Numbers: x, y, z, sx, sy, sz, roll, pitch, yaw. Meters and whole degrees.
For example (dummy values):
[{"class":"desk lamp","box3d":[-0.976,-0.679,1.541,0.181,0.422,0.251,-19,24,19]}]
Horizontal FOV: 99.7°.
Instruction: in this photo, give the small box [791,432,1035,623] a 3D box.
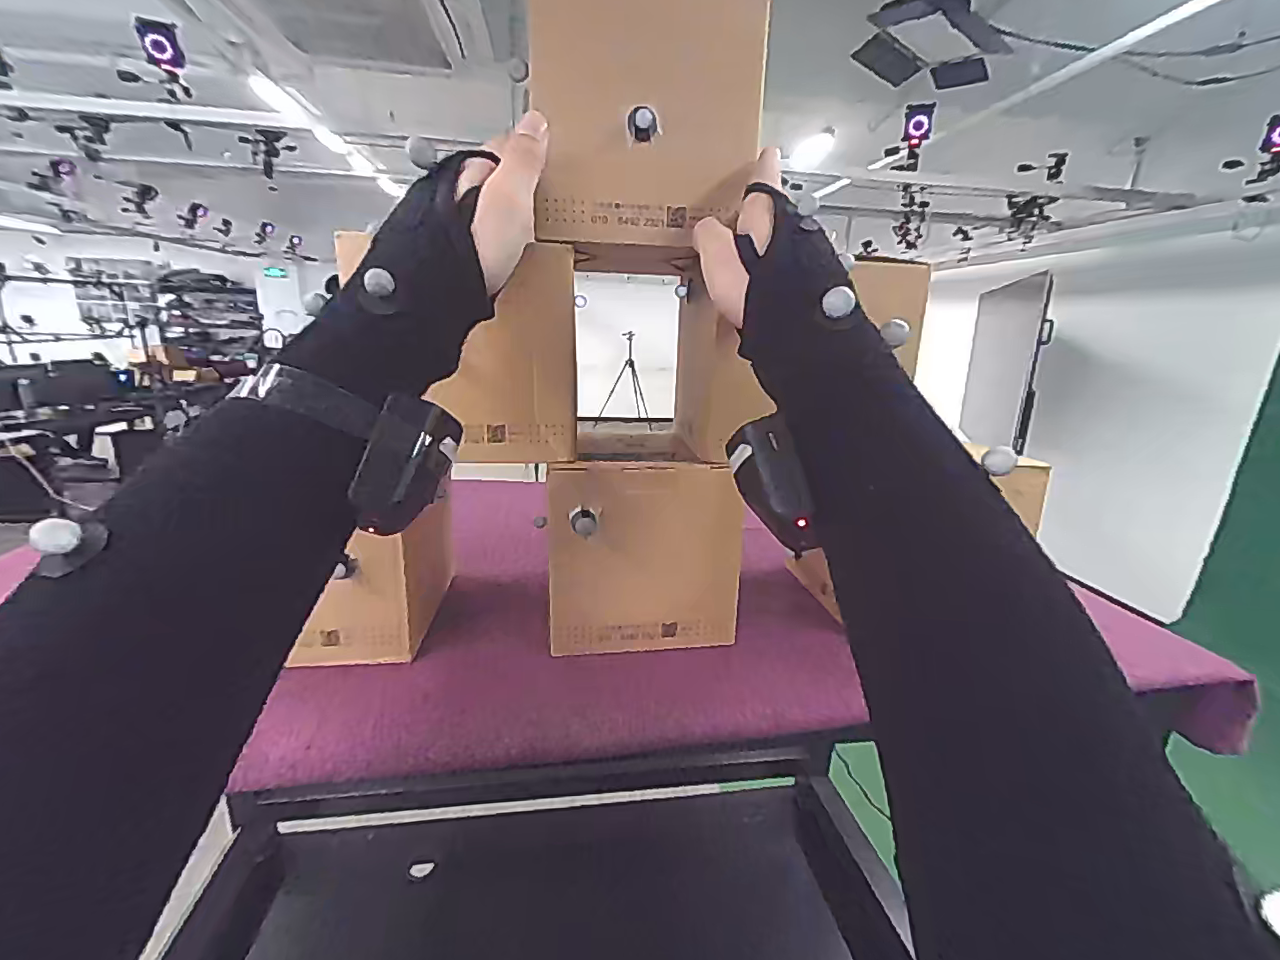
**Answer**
[{"class":"small box","box3d":[0.276,0.044,0.590,0.179,0.176,0.168,0,15,-8]}]

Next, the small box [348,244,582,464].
[{"class":"small box","box3d":[-0.140,-0.111,0.494,0.168,0.176,0.179,-1,15,-9]}]

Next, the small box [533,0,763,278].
[{"class":"small box","box3d":[-0.003,-0.273,0.471,0.168,0.176,0.179,-1,15,-9]}]
